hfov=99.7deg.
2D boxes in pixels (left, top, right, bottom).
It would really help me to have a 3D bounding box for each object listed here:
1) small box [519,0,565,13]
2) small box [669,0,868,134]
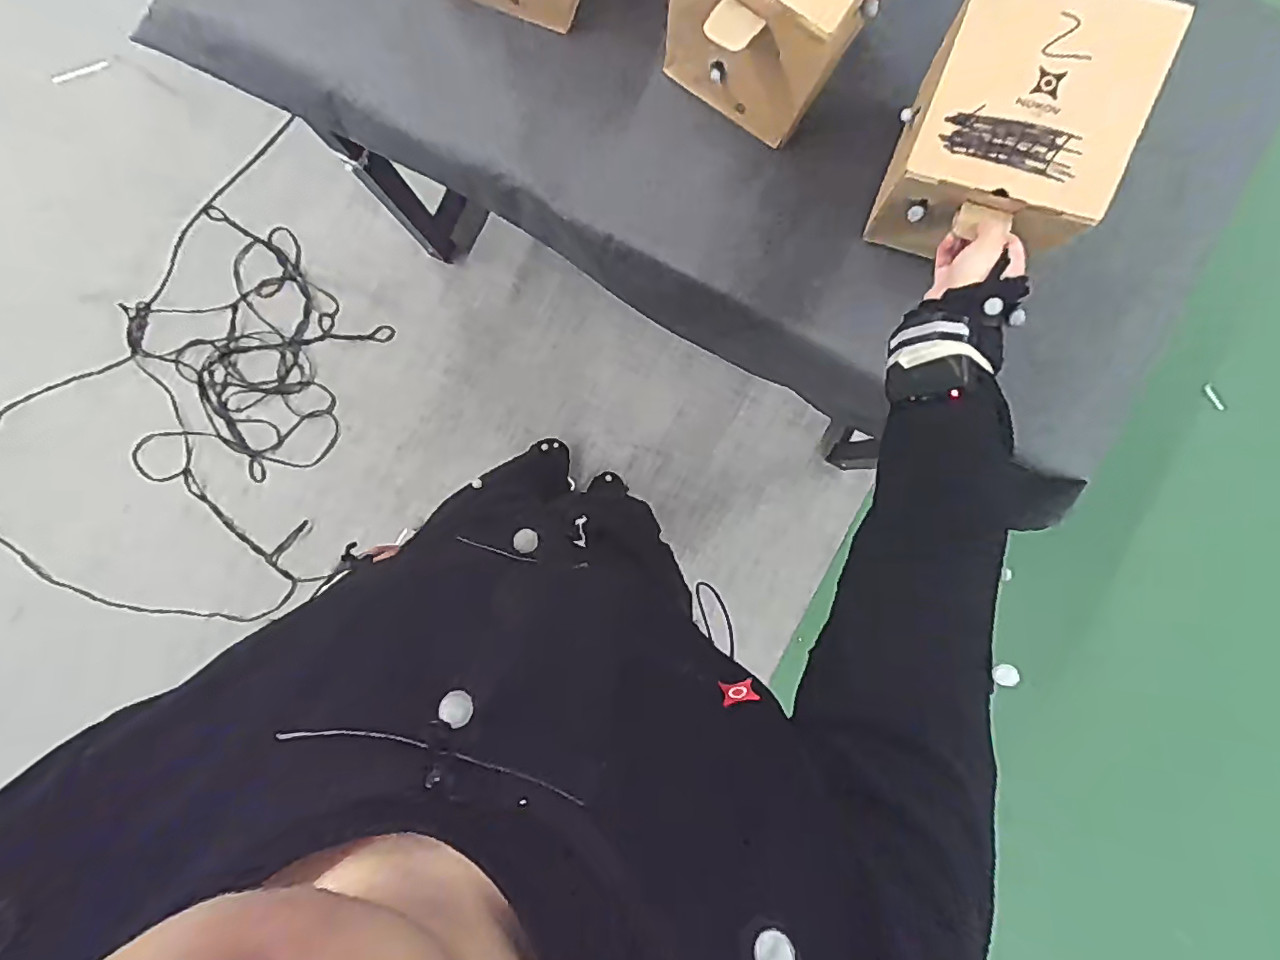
[{"bbox_3d":[-0.133,-0.622,0.526,0.168,0.176,0.179,19,89,-3],"label":"small box"},{"bbox_3d":[0.141,-0.503,0.536,0.168,0.176,0.179,33,90,-2],"label":"small box"}]
